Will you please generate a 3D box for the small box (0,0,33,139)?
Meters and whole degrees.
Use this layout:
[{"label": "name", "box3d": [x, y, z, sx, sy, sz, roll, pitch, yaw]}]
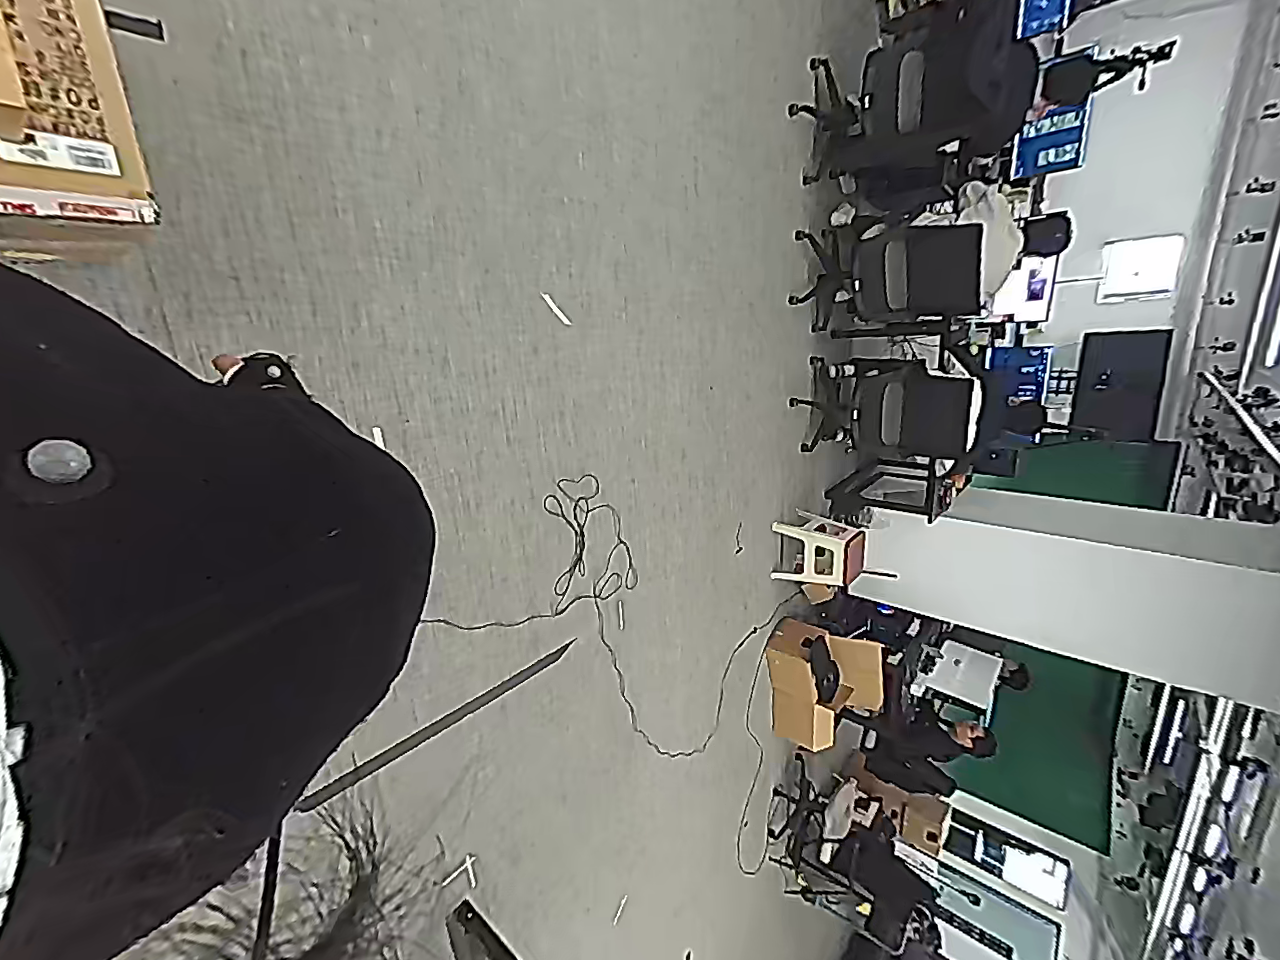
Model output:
[{"label": "small box", "box3d": [-0.743, -0.465, 0.528, 0.168, 0.176, 0.179, -18, 115, -46]}]
